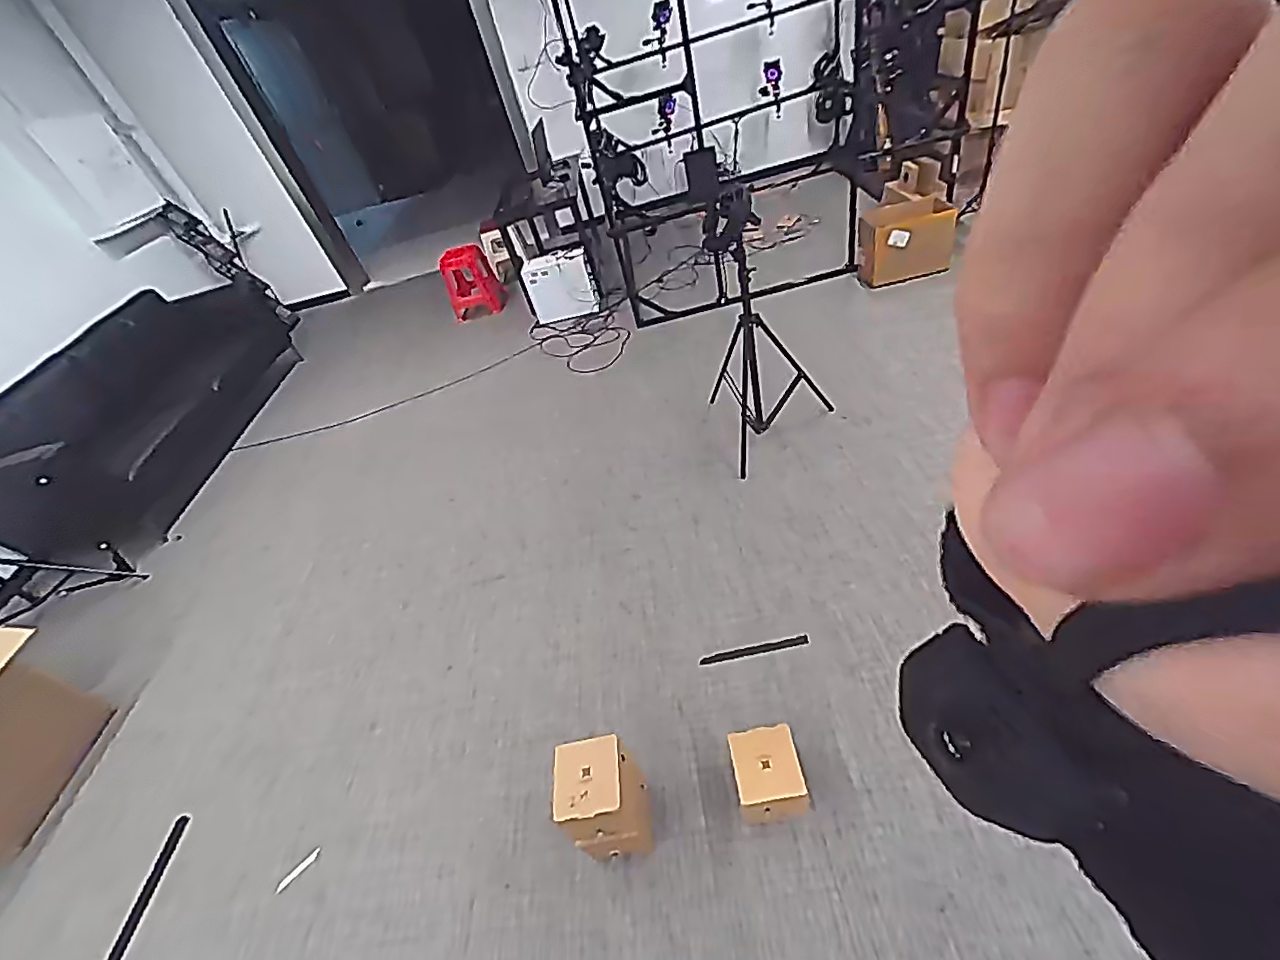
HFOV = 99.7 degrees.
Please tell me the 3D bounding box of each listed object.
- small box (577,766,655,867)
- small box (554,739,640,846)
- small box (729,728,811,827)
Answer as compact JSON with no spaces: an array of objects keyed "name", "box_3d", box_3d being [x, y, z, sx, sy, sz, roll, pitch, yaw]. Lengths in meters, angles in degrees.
[{"name":"small box","box_3d":[-0.062,0.897,1.439,0.168,0.176,0.179,-15,41,7]},{"name":"small box","box_3d":[-0.104,0.774,1.338,0.168,0.176,0.179,-15,42,7]},{"name":"small box","box_3d":[0.341,0.784,1.416,0.168,0.176,0.179,-14,41,5]}]
